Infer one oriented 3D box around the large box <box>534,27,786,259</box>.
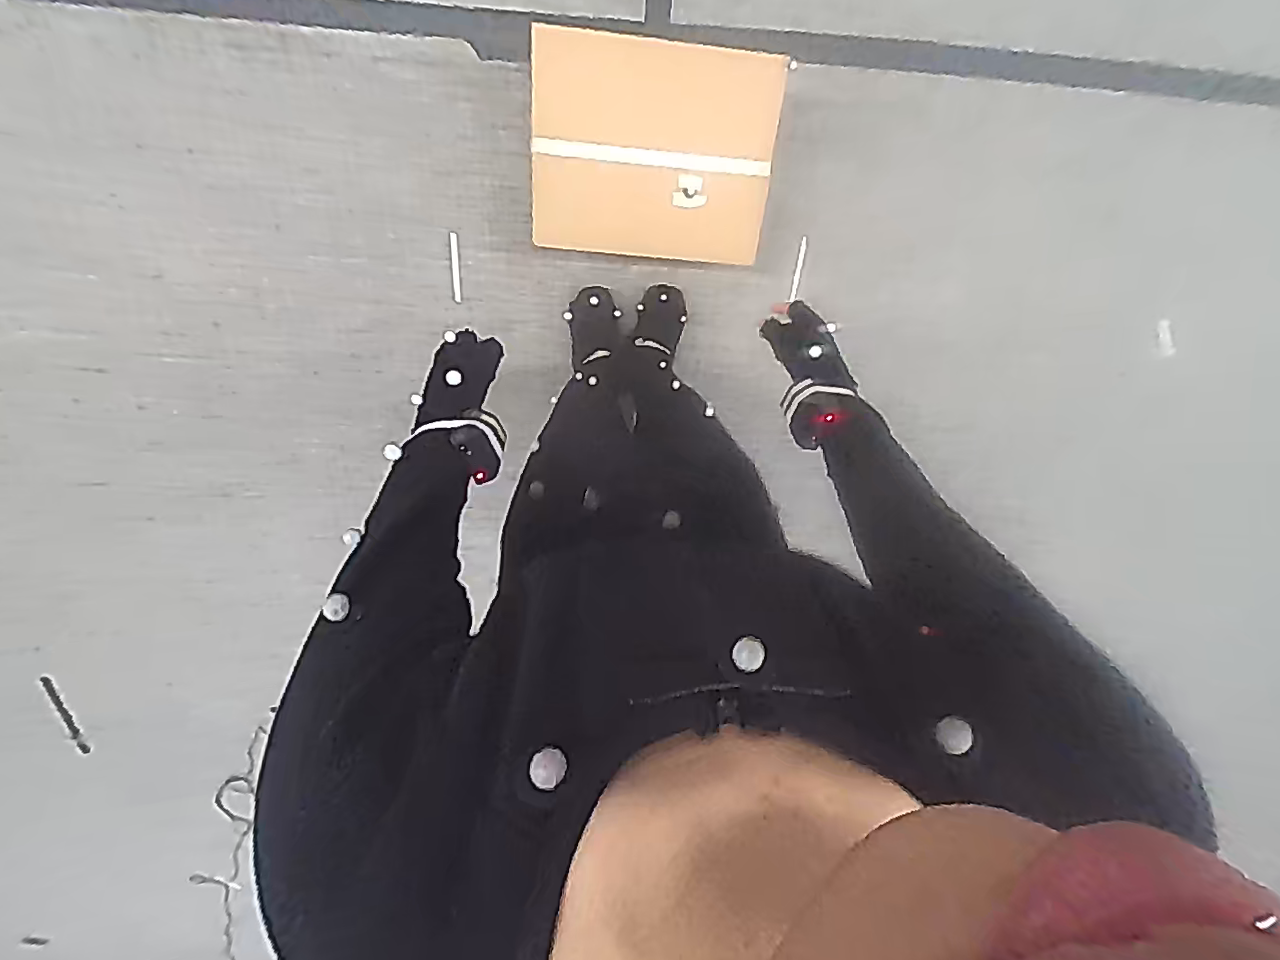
[{"bbox_3d":[0.013,-0.619,1.040,0.408,0.320,0.320,2,119,-6],"label":"large box"}]
